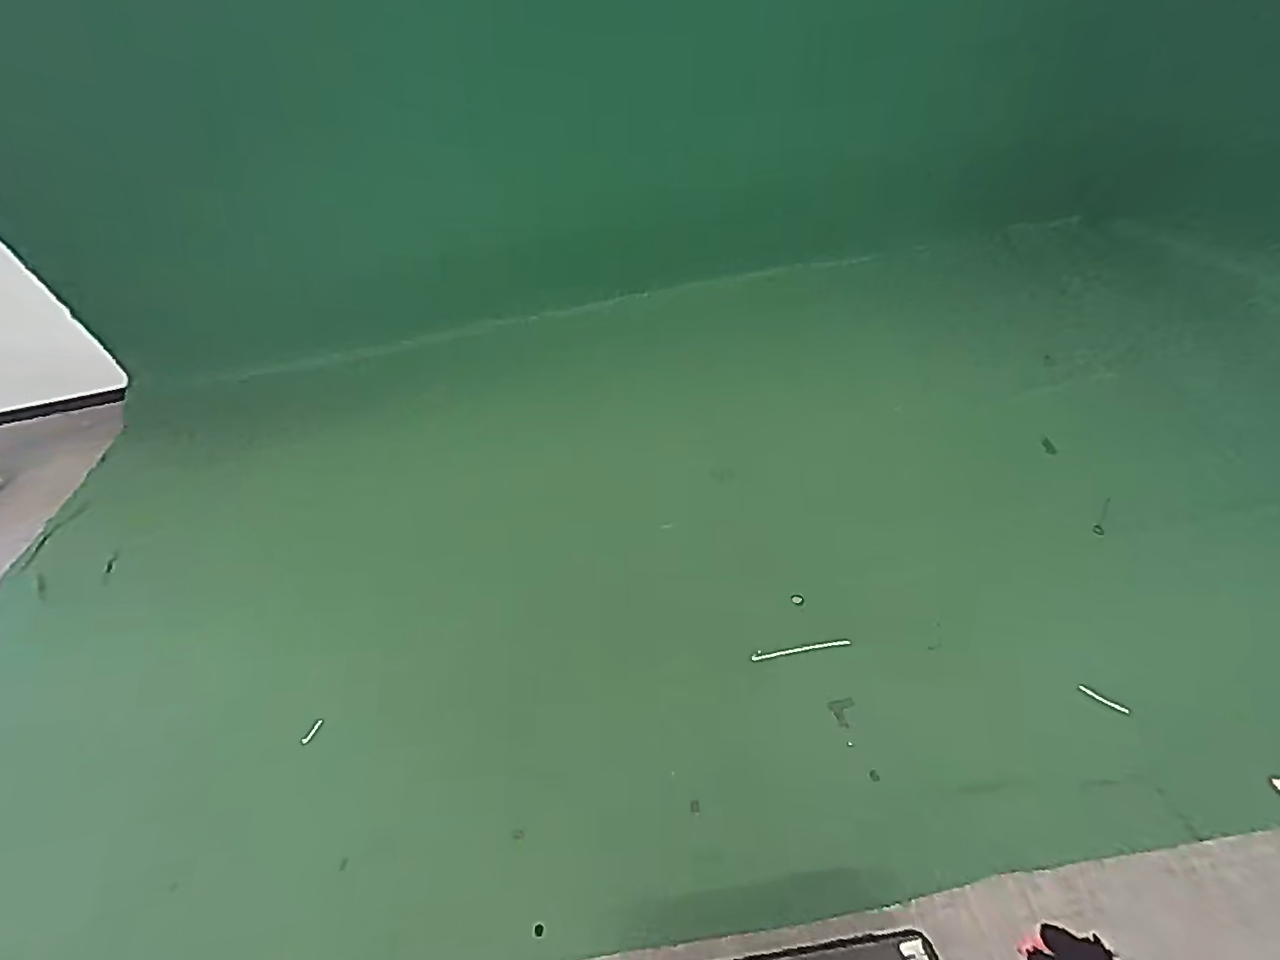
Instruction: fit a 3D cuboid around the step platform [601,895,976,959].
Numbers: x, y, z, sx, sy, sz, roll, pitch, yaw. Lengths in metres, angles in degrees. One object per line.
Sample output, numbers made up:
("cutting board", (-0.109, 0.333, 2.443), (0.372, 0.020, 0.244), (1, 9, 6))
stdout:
("step platform", (0.257, 0.973, 0.959), (0.684, 0.204, 0.286), (-11, 47, 1))
